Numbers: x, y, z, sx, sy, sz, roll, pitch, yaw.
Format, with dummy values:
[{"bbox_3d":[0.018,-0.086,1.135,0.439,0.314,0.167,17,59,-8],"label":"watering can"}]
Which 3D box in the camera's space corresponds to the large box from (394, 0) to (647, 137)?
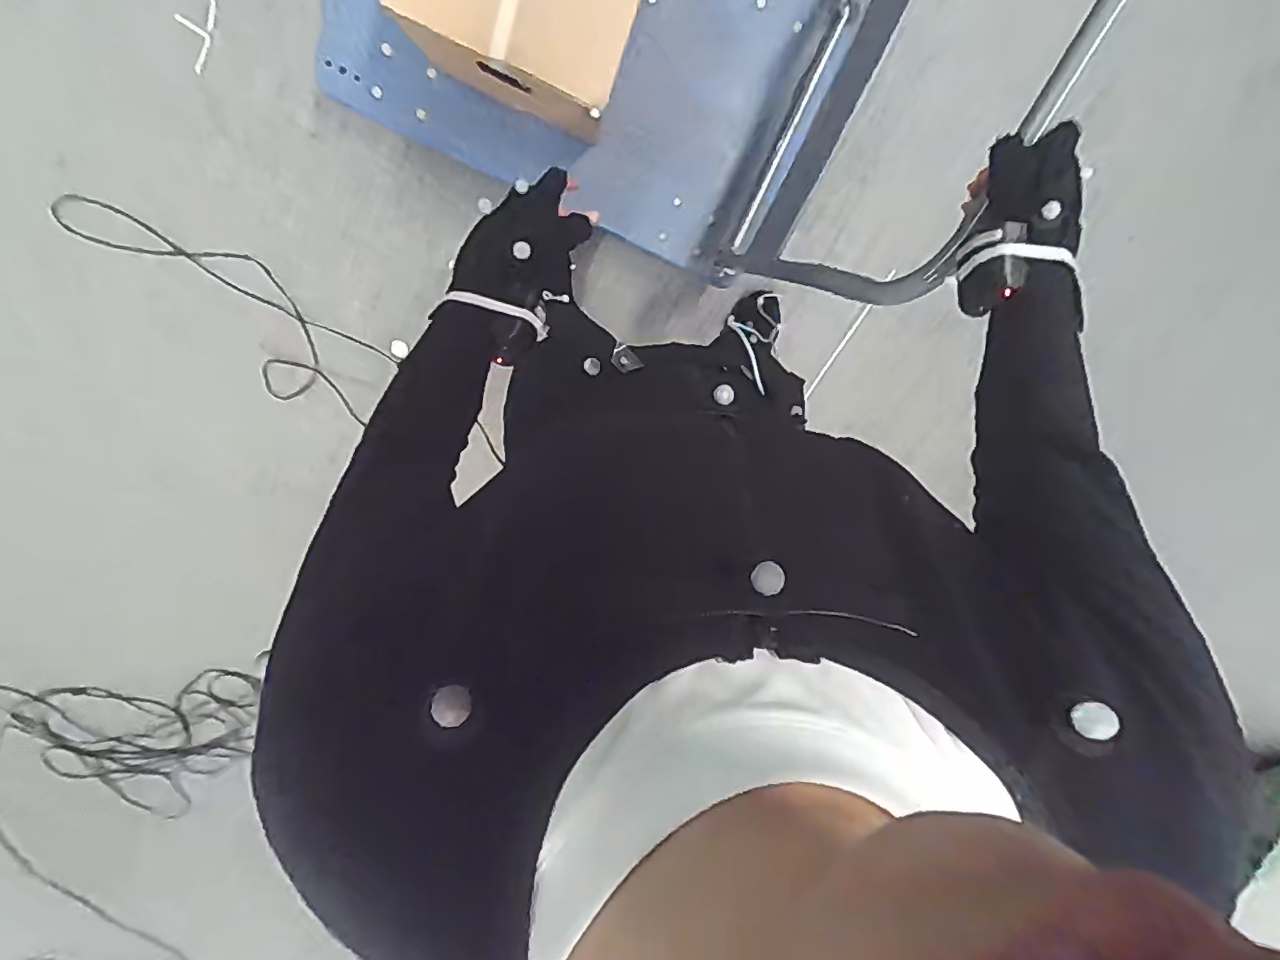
[{"bbox_3d":[-0.129,-0.814,0.807,0.320,0.320,0.408,19,112,-13],"label":"large box"}]
